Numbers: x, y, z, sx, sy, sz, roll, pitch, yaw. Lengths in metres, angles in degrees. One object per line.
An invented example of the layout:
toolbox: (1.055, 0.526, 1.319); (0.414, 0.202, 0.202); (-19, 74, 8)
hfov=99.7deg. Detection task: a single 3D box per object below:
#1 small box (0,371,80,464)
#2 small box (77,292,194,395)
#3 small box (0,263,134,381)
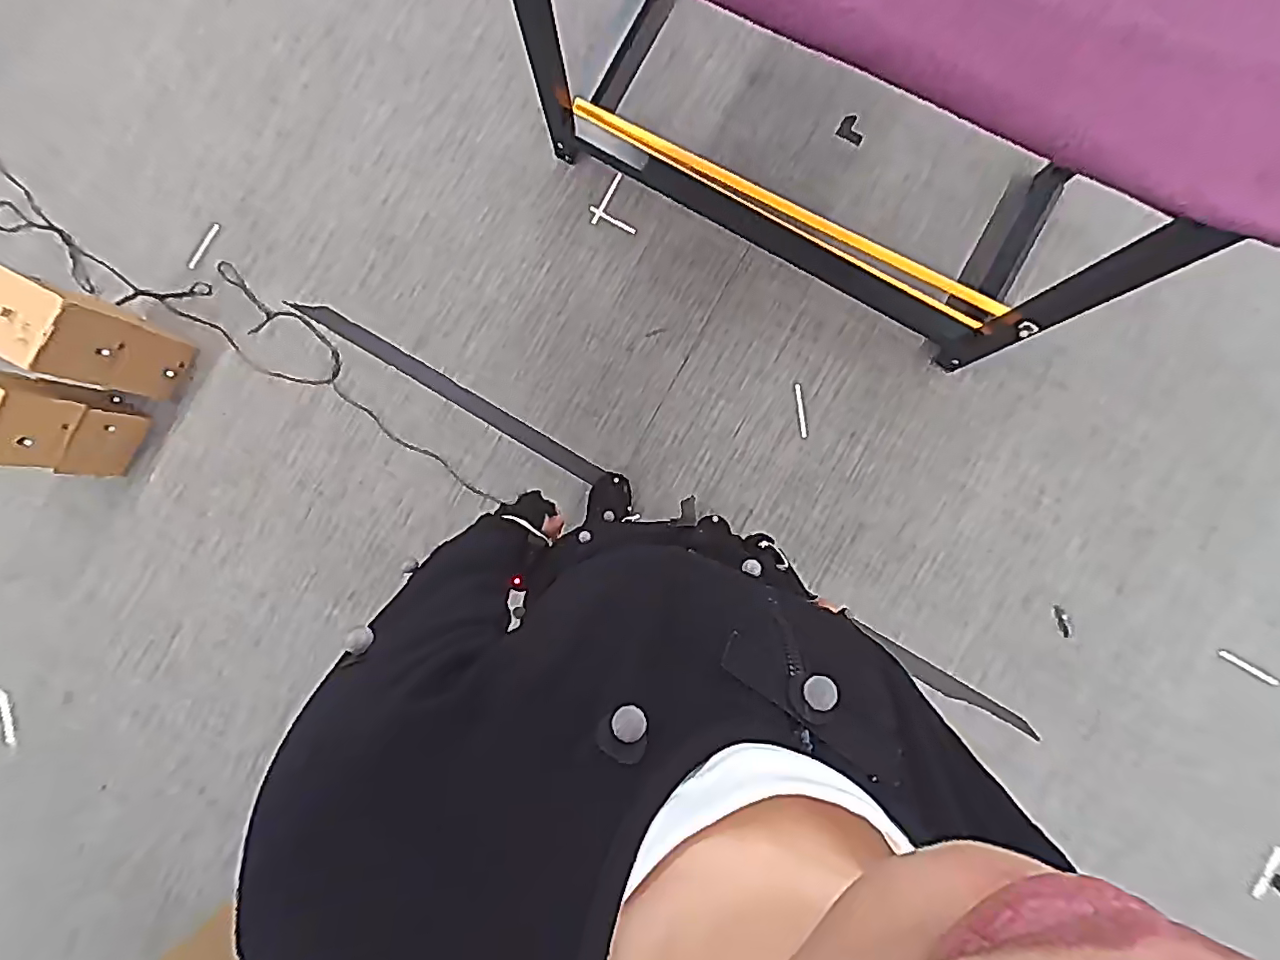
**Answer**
small box: (-1.393, -0.140, 1.167); (0.179, 0.176, 0.168); (24, 89, 2)
small box: (-1.277, -0.326, 1.334); (0.179, 0.176, 0.168); (29, 89, 1)
small box: (-1.278, -0.332, 1.169); (0.179, 0.176, 0.168); (28, 89, 1)
